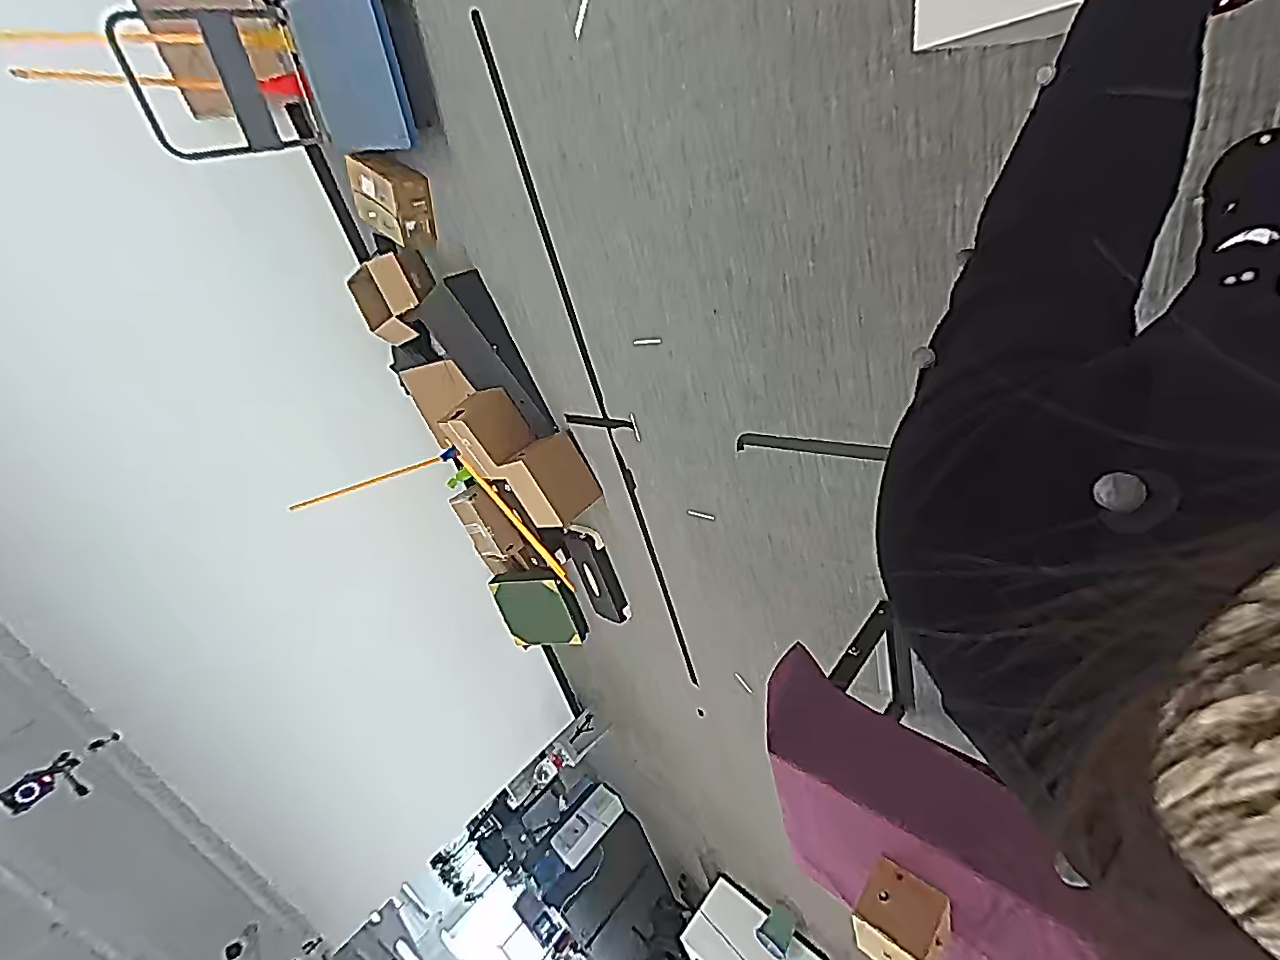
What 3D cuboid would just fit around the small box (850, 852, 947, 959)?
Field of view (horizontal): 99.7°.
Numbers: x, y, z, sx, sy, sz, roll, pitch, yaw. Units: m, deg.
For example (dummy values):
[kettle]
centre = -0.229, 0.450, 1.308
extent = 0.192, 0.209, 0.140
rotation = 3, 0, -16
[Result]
[small box]
centre = 0.637, 1.070, 1.327
extent = 0.168, 0.176, 0.179
rotation = 12, 129, 46
